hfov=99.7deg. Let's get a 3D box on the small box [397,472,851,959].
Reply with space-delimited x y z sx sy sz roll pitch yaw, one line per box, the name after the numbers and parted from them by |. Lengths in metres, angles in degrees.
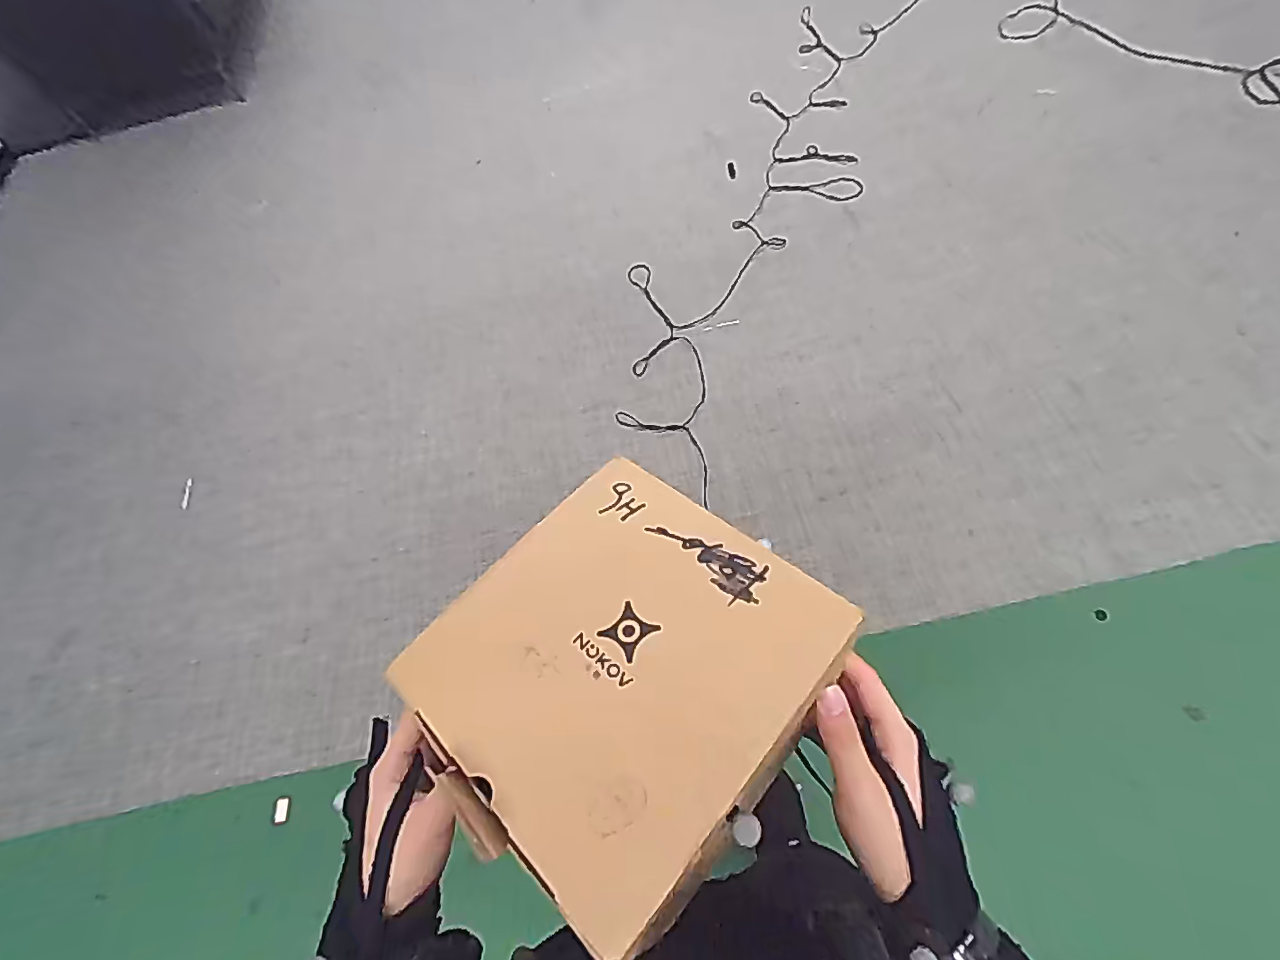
0.002 0.135 0.331 0.168 0.176 0.179 33 66 30 | small box
